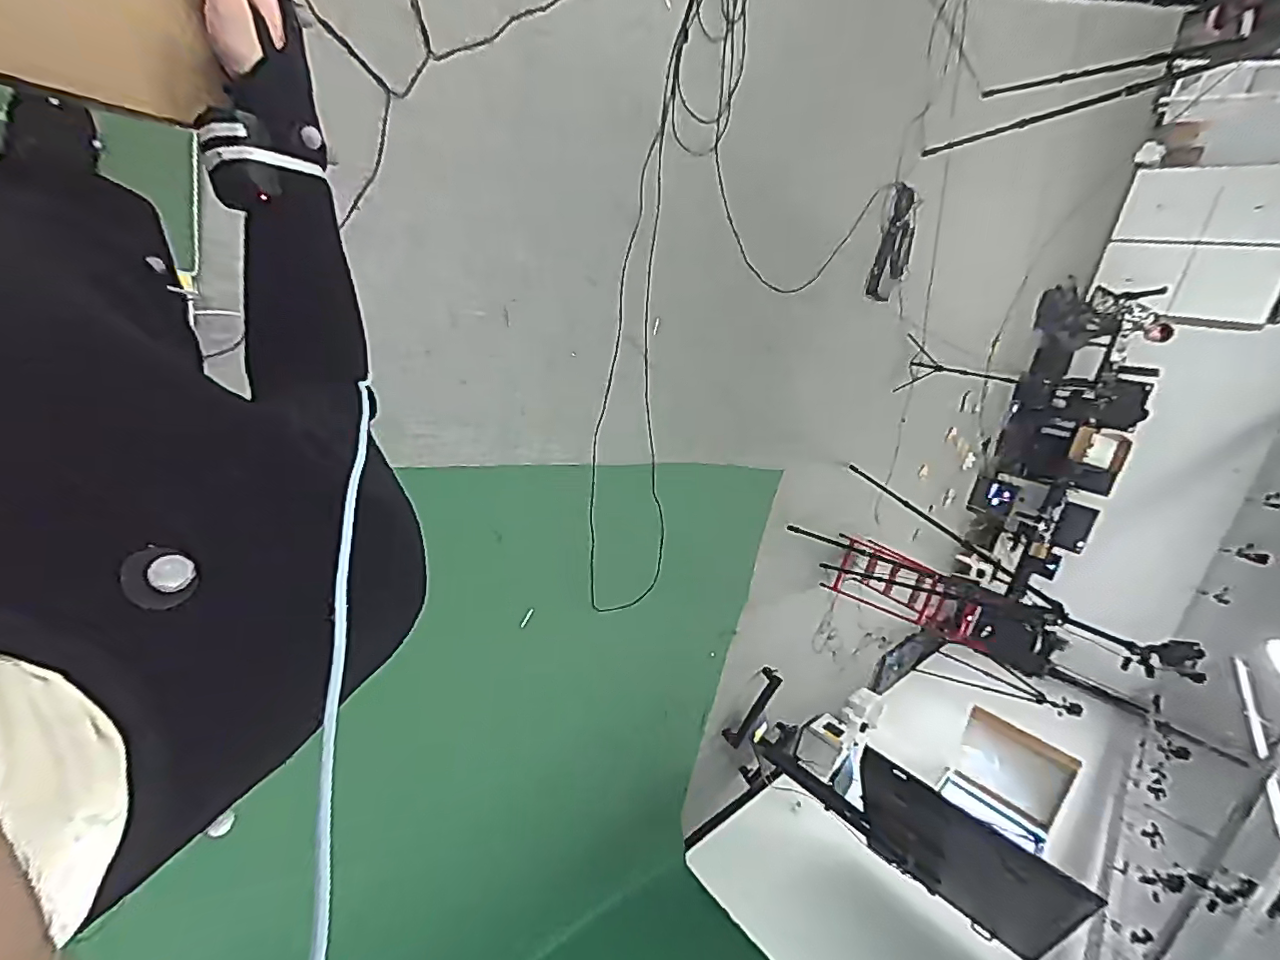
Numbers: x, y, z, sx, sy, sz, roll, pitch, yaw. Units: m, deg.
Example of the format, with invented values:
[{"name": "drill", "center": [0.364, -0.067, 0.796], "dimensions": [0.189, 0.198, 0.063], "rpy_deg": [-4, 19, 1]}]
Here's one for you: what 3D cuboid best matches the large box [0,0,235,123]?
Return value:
[{"name": "large box", "center": [-0.555, -0.467, 0.344], "dimensions": [0.408, 0.320, 0.320], "rpy_deg": [-13, 124, -48]}]
